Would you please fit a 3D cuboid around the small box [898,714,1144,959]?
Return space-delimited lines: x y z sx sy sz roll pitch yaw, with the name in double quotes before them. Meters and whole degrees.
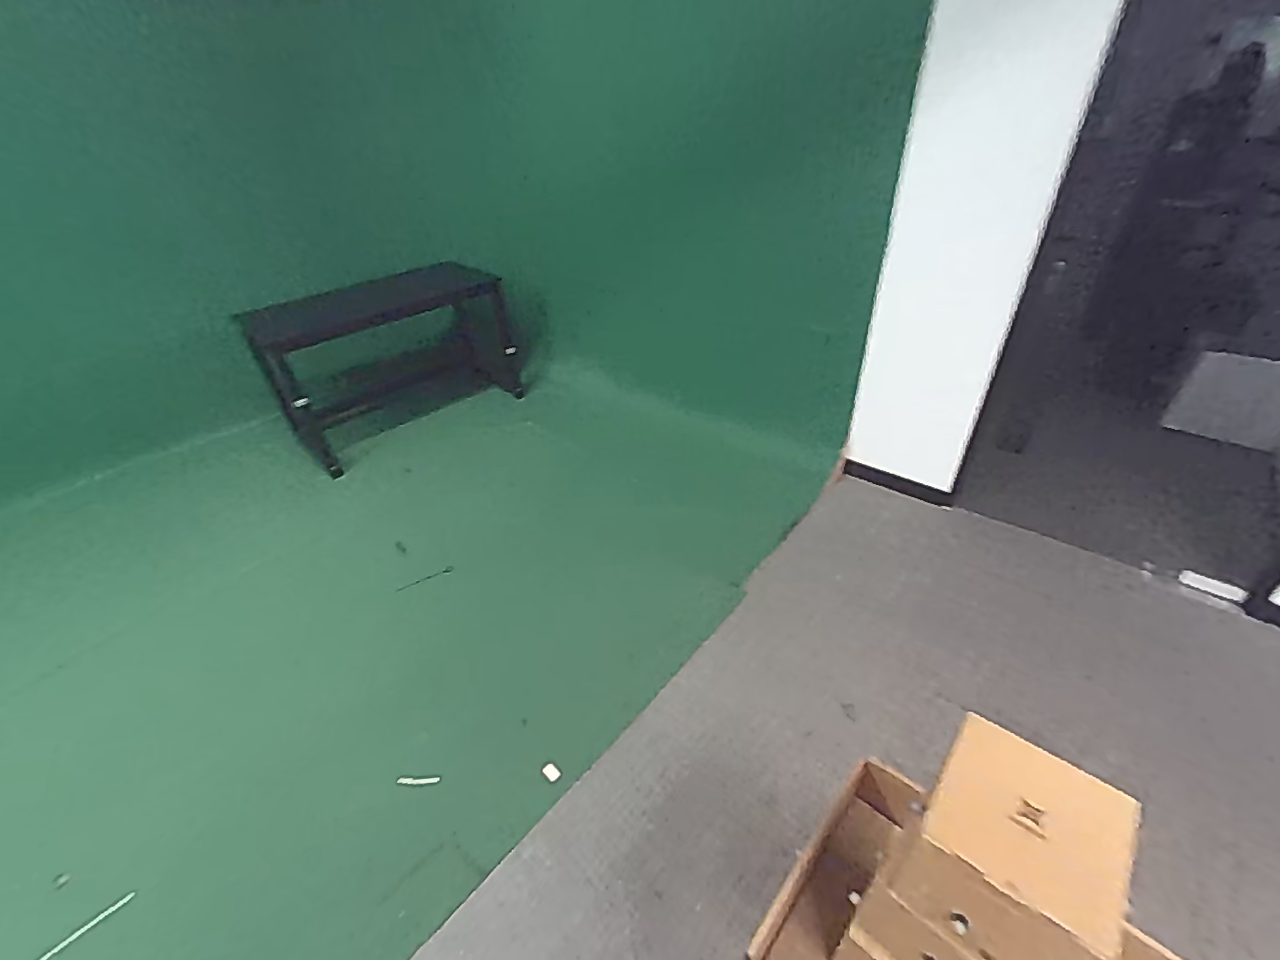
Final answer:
"small box" 0.411 0.413 0.602 0.168 0.176 0.179 25 45 34

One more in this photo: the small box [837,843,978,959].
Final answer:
"small box" 0.411 0.686 0.781 0.179 0.176 0.168 27 46 36
